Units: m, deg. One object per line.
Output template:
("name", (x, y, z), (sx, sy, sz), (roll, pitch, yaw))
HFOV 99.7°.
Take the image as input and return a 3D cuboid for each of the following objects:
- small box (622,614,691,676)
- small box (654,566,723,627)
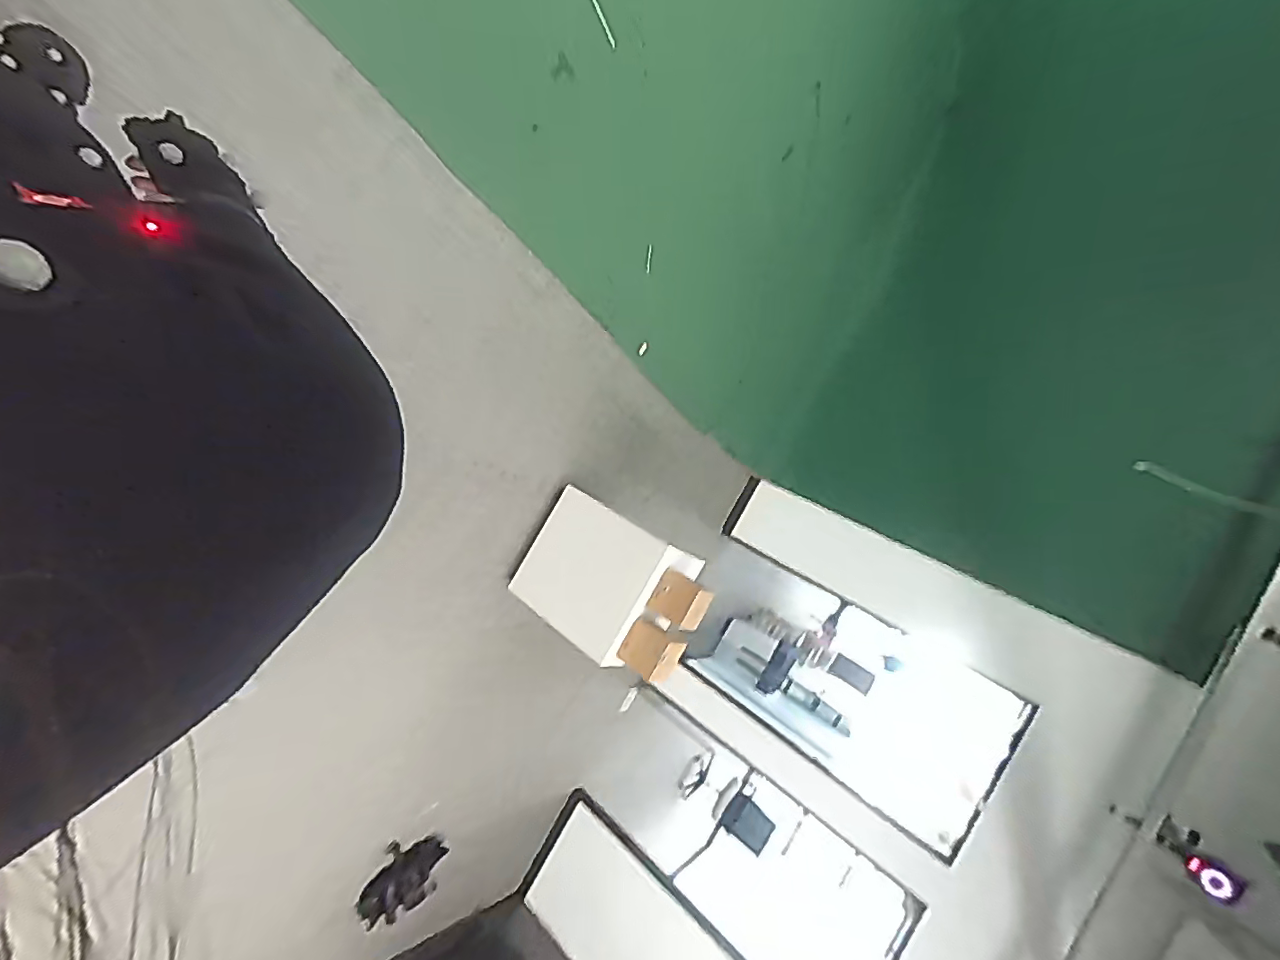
("small box", (0.062, 0.627, 2.067), (0.168, 0.176, 0.179), (-60, 149, -1))
("small box", (0.185, 0.445, 2.073), (0.179, 0.176, 0.168), (28, 91, -56))
